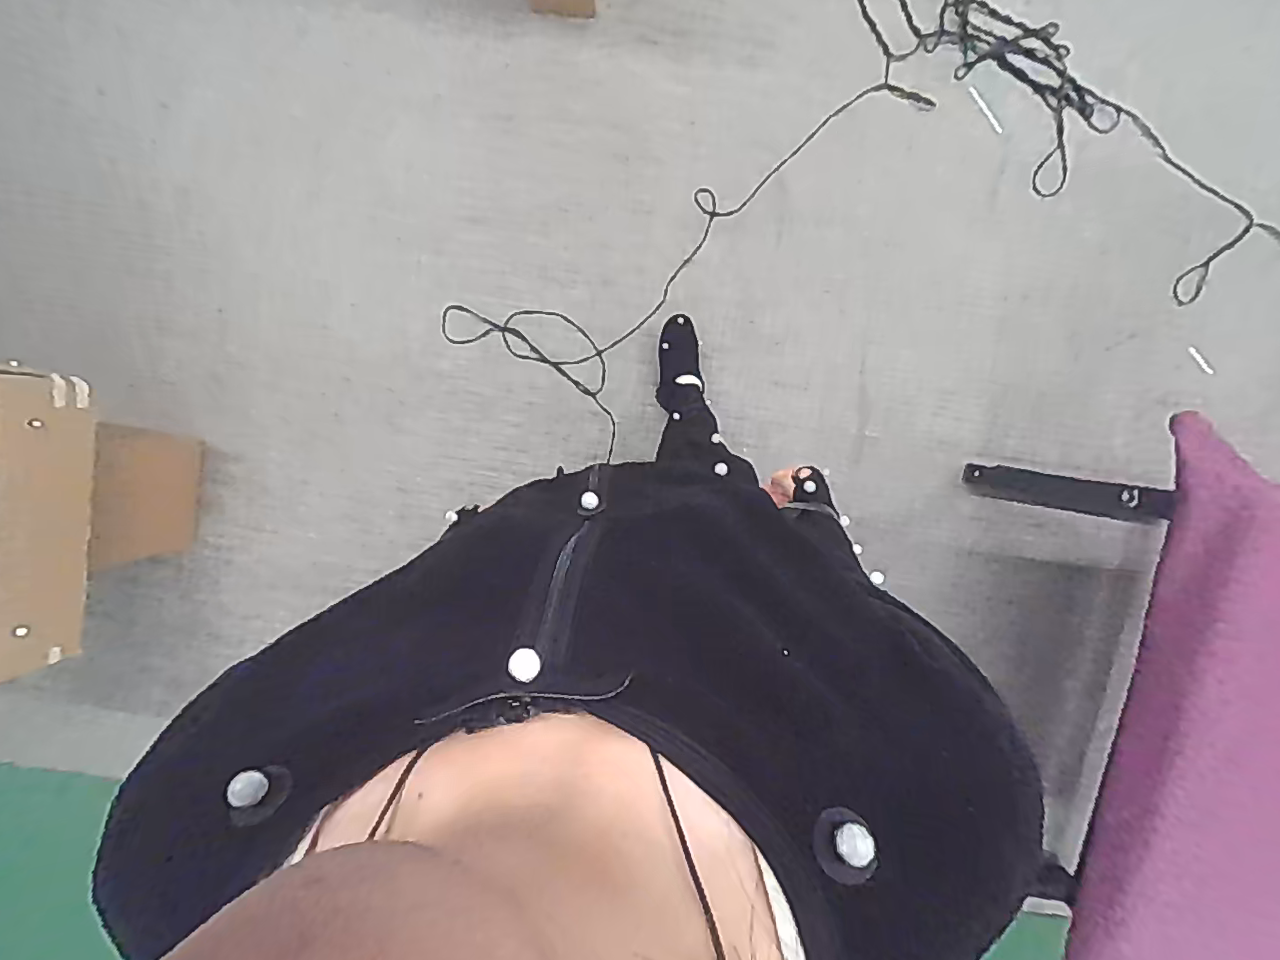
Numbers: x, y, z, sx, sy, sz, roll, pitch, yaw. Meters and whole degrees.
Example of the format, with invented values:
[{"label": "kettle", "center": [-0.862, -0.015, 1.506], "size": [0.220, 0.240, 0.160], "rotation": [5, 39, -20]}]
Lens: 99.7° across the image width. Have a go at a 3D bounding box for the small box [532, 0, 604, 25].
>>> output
[{"label": "small box", "center": [-0.177, -1.252, 1.307], "size": [0.179, 0.176, 0.168], "rotation": [7, 96, 0]}]
